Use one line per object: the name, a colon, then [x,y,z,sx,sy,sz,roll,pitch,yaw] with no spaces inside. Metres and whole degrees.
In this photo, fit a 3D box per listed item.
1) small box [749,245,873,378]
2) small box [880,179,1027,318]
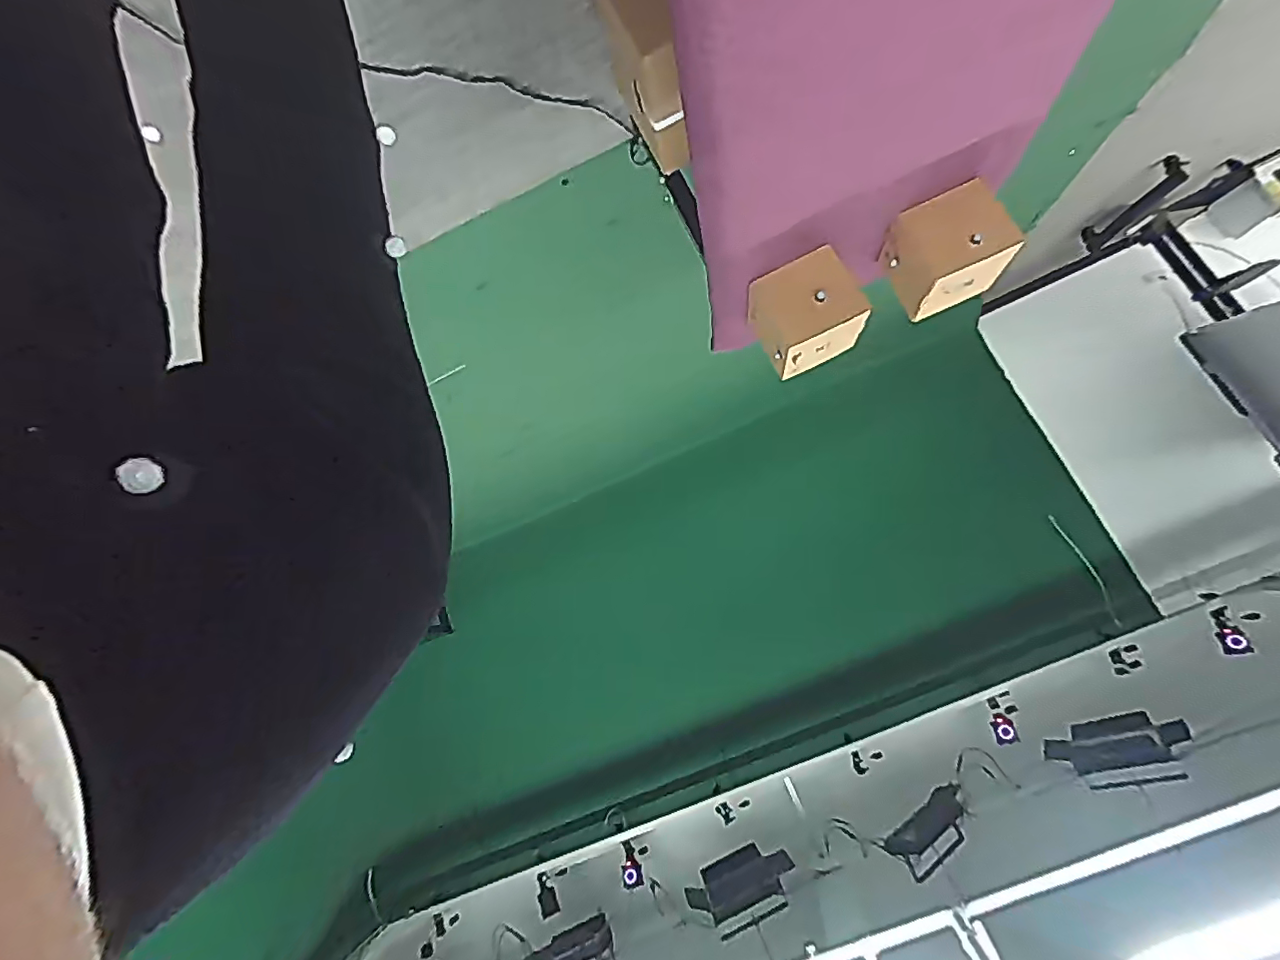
small box: [0.348,-0.351,1.133,0.179,0.176,0.168,-27,164,3]
small box: [0.636,-0.479,1.121,0.179,0.176,0.168,-23,163,4]
